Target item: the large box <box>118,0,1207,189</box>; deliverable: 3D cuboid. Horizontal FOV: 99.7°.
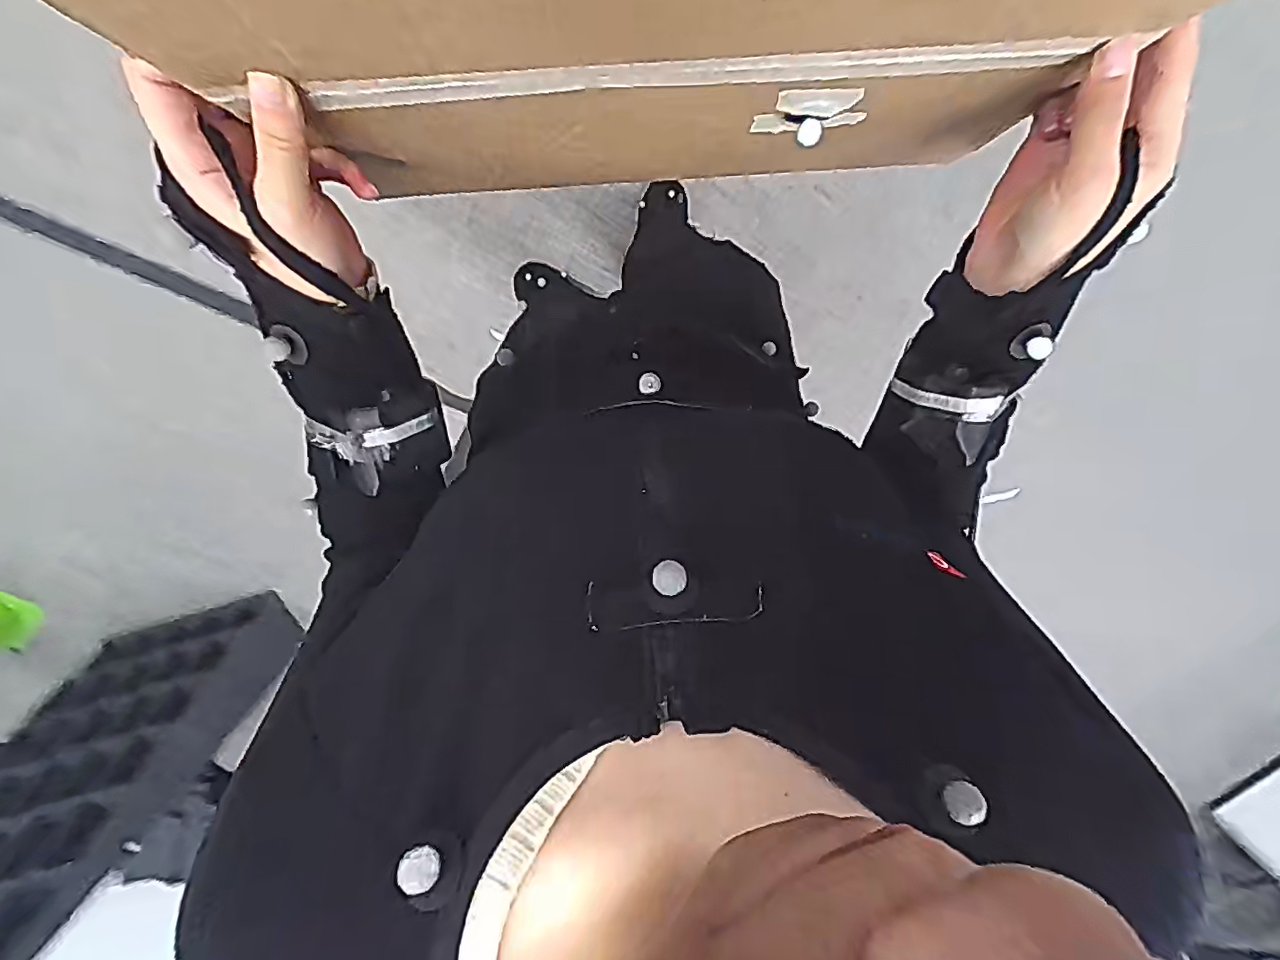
[{"bbox_3d":[0.012,-0.329,0.196,0.408,0.320,0.320,-4,104,-1],"label":"large box"}]
